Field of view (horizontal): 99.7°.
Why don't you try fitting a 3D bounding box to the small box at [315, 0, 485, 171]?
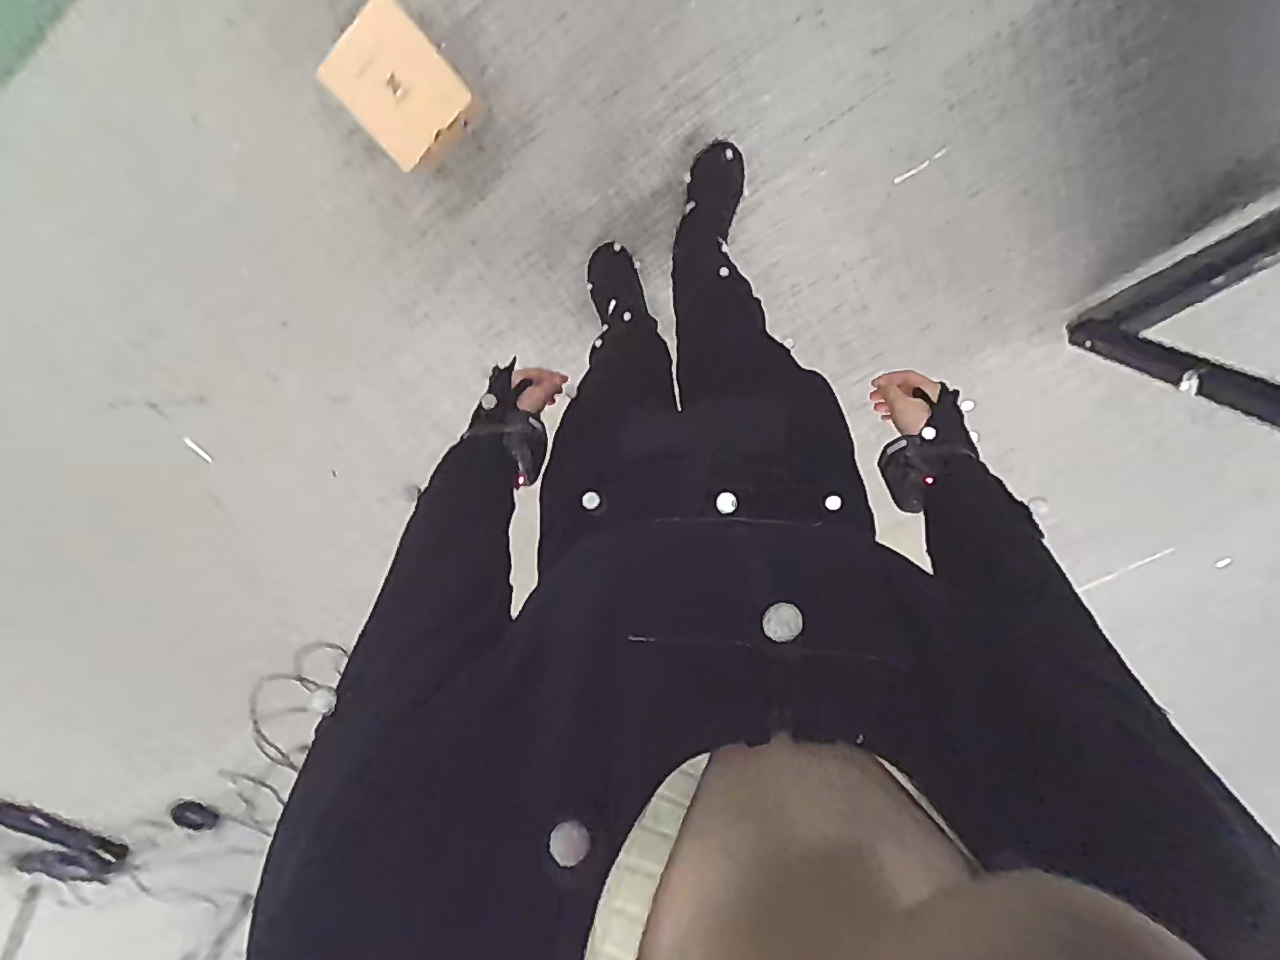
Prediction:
[{"bbox_3d":[-0.385,-0.653,0.904,0.168,0.176,0.179,-38,117,16],"label":"small box"}]
